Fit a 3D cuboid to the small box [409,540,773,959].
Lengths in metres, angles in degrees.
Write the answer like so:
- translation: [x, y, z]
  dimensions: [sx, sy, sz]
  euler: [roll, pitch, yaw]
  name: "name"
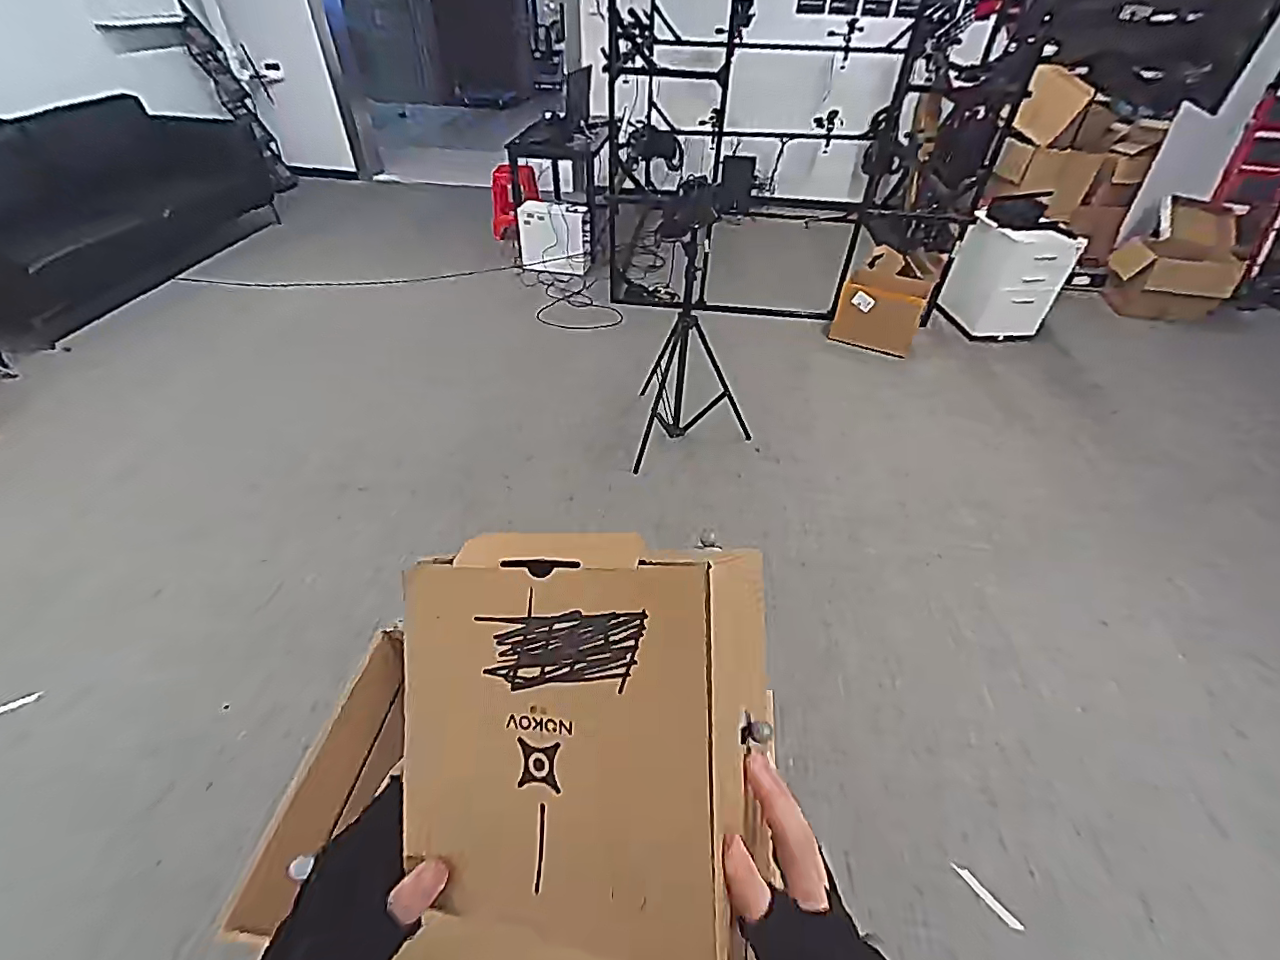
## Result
- translation: [-0.012, 0.126, 0.330]
  dimensions: [0.168, 0.179, 0.176]
  euler: [-3, -6, 20]
  name: "small box"
